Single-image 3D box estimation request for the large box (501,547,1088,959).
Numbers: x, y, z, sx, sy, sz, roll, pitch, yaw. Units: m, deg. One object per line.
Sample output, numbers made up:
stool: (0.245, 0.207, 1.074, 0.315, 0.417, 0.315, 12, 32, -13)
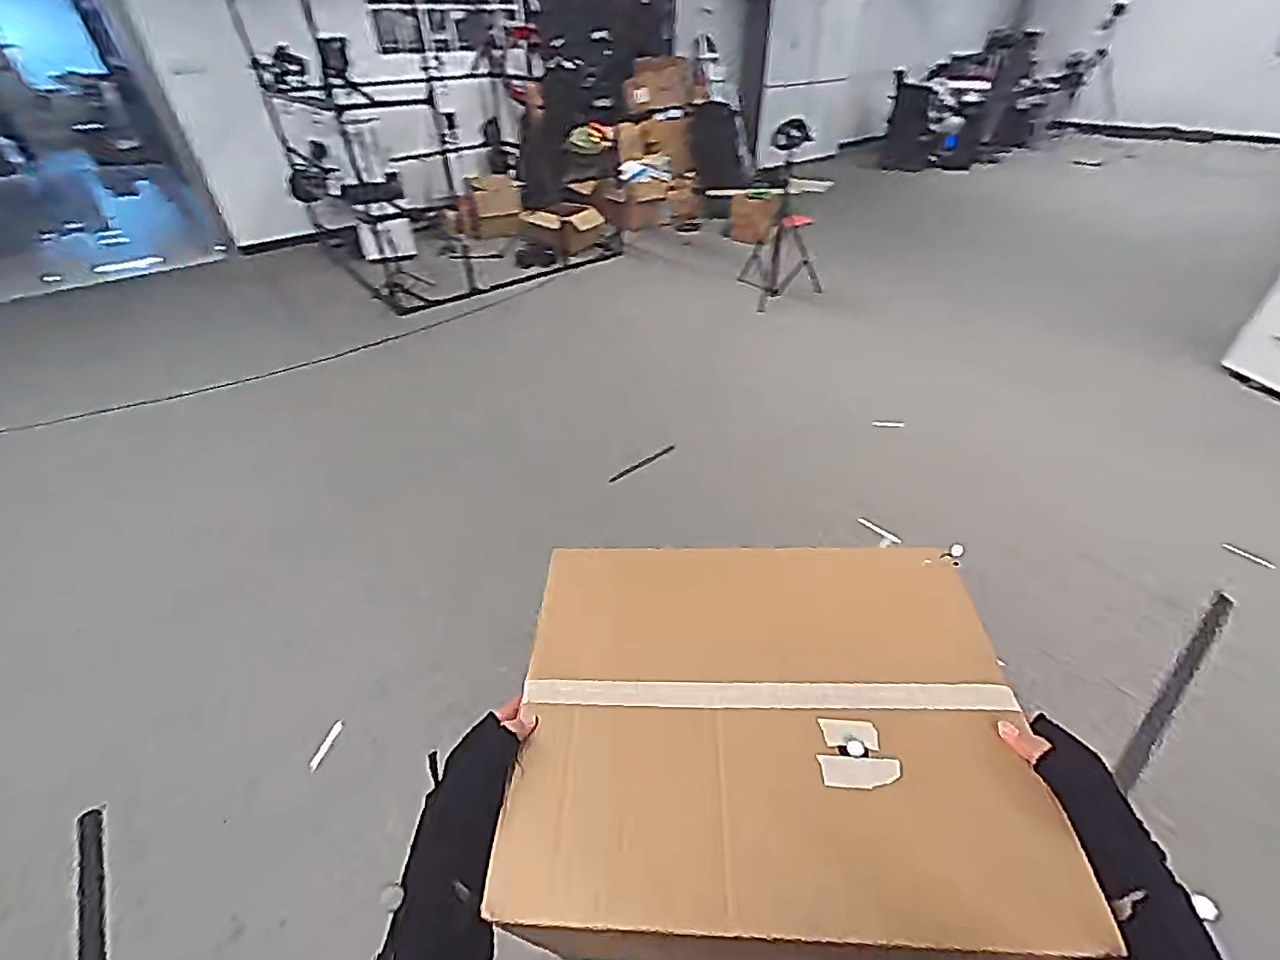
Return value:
large box: (0.110, 0.289, 0.573, 0.408, 0.320, 0.320, -1, 46, 4)
